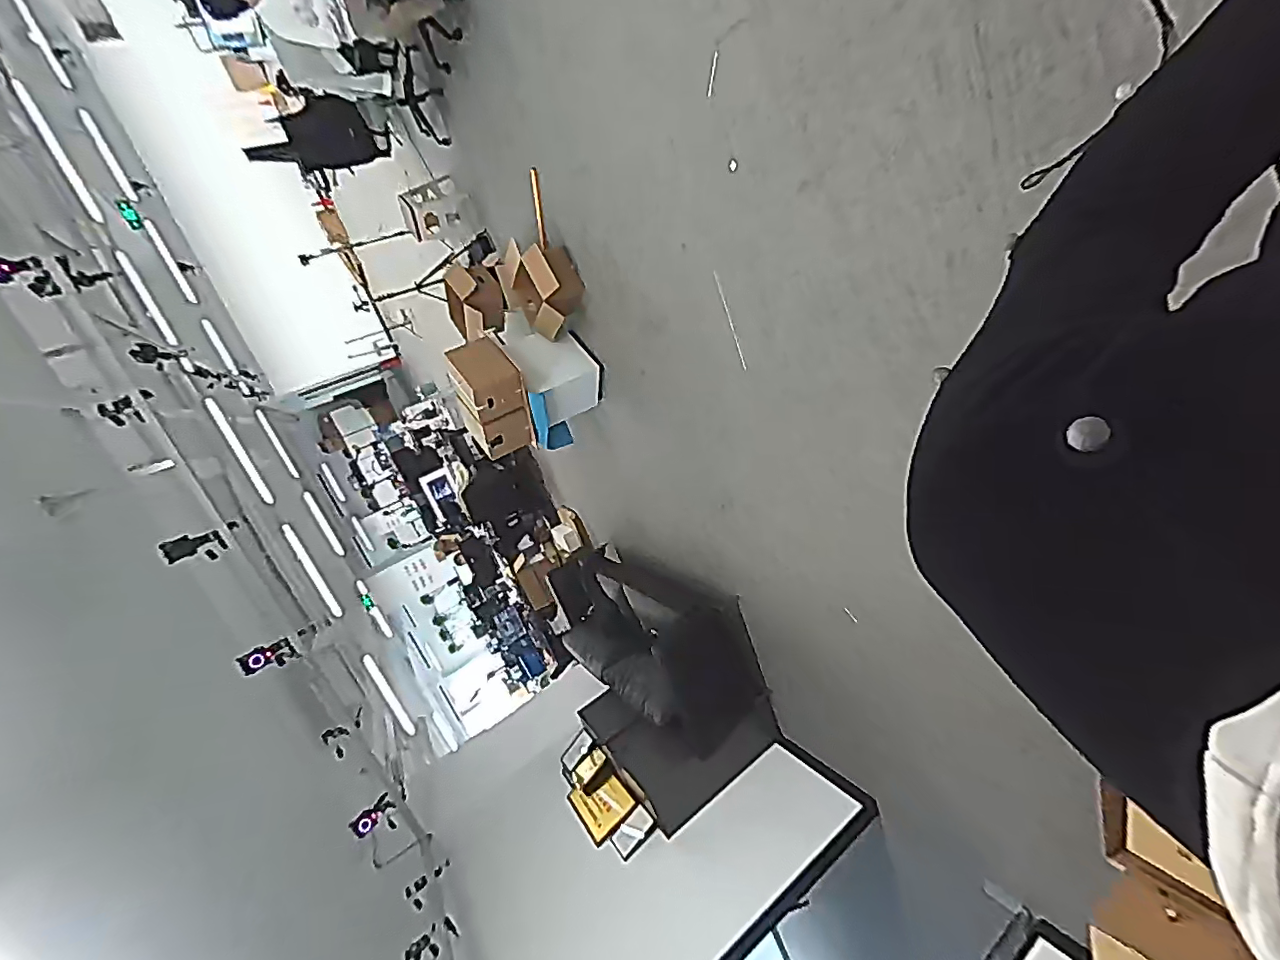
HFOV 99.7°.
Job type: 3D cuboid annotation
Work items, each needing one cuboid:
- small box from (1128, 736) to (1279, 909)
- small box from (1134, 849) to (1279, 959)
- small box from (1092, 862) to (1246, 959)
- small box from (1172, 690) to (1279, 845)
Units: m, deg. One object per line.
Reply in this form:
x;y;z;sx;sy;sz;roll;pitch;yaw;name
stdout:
1.054;0.624;1.009;0.168;0.176;0.179;21;135;58;small box
1.134;0.832;1.088;0.168;0.176;0.179;17;128;60;small box
0.994;0.886;1.018;0.168;0.176;0.179;13;125;60;small box
1.190;0.556;1.069;0.168;0.176;0.179;17;133;59;small box
